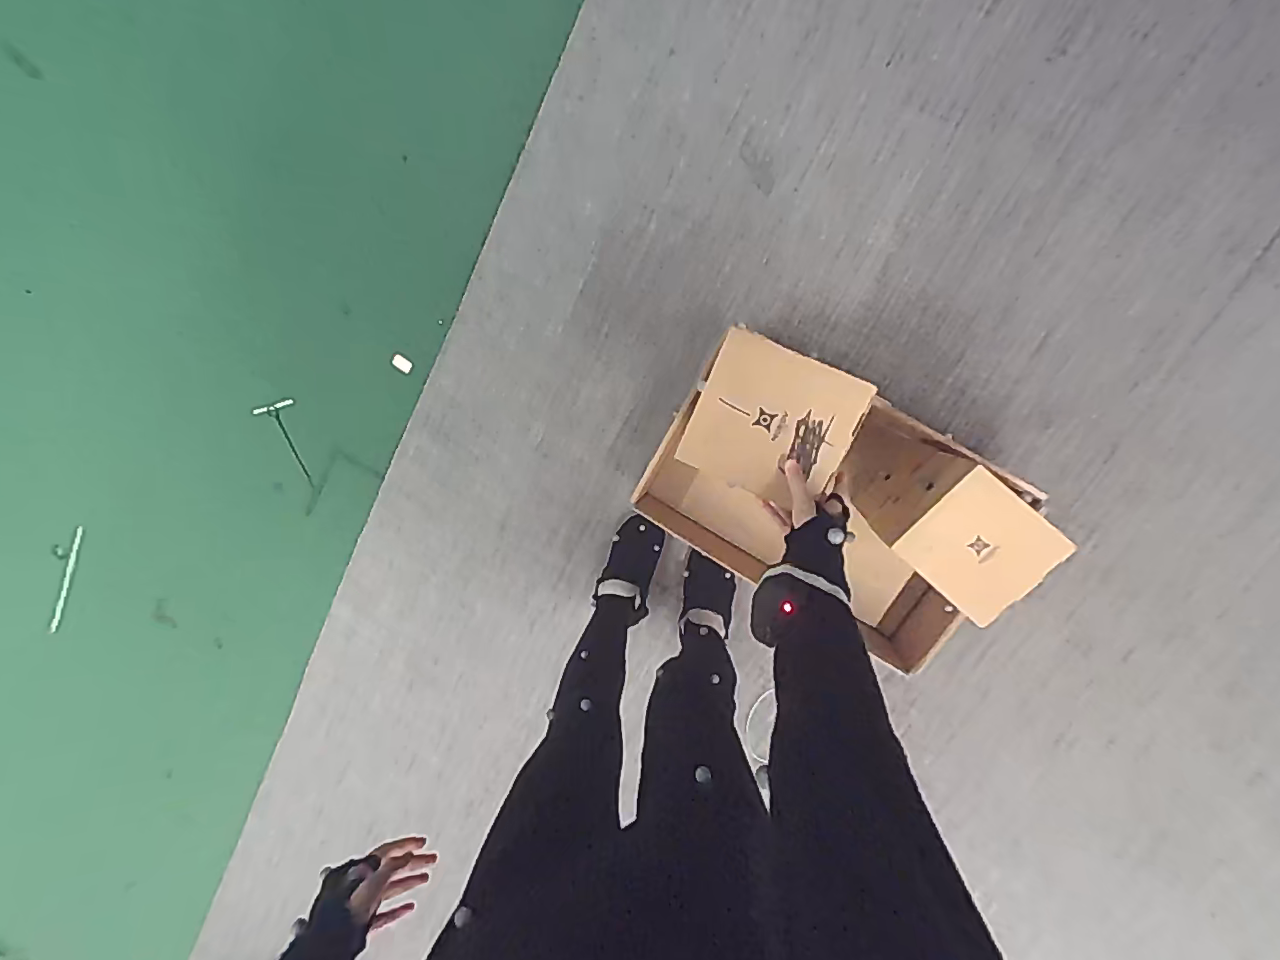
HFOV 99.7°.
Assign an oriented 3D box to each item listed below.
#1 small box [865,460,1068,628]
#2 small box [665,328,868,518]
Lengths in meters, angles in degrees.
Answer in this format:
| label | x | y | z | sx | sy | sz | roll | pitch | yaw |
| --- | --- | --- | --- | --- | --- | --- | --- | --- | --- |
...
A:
| label | x | y | z | sx | sy | sz | roll | pitch | yaw |
| --- | --- | --- | --- | --- | --- | --- | --- | --- | --- |
| small box | 0.474 | 0.083 | 0.823 | 0.179 | 0.176 | 0.168 | 42 | 105 | 2 |
| small box | 0.155 | -0.075 | 0.688 | 0.179 | 0.176 | 0.168 | 26 | 103 | 7 |
